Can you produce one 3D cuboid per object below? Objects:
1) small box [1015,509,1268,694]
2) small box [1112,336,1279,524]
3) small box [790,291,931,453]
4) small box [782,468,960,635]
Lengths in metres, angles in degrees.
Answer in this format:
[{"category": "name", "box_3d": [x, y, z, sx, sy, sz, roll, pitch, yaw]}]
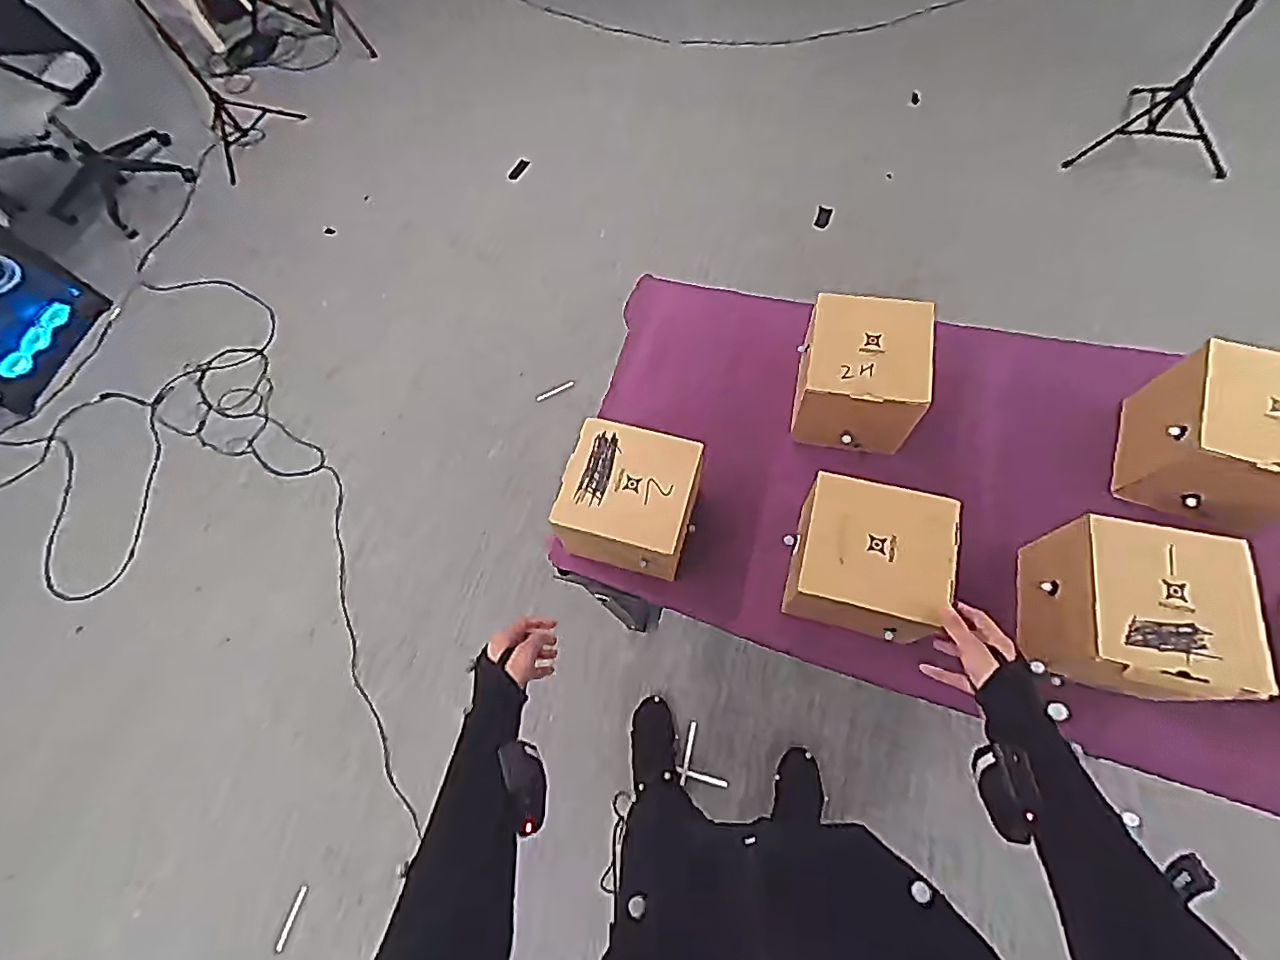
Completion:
[{"category": "small box", "box_3d": [0.601, 0.159, 0.677, 0.168, 0.176, 0.179, 11, 68, 12]}, {"category": "small box", "box_3d": [0.803, -0.062, 0.747, 0.168, 0.176, 0.179, 18, 72, 15]}, {"category": "small box", "box_3d": [0.337, -0.165, 0.849, 0.168, 0.176, 0.179, 9, 69, 11]}, {"category": "small box", "box_3d": [0.304, 0.105, 0.738, 0.179, 0.176, 0.168, 13, 69, 12]}]
